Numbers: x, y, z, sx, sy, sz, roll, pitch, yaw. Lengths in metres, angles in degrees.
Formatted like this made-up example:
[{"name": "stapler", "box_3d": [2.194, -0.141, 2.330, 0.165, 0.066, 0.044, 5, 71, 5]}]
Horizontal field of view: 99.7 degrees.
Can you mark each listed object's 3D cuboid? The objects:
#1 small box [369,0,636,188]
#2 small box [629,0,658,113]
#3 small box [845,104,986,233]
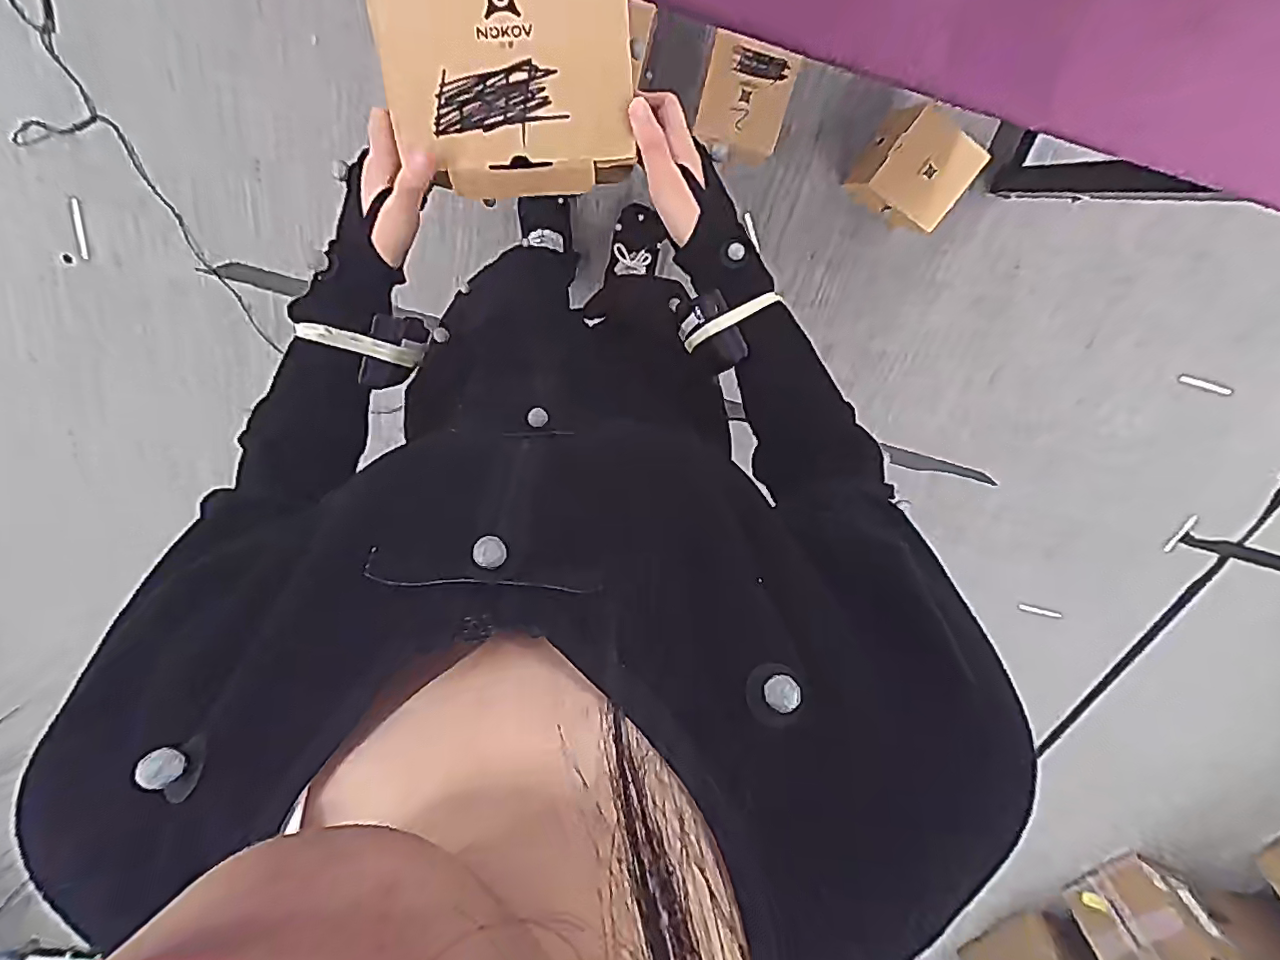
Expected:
[{"name": "small box", "box_3d": [-0.092, -0.329, 0.416, 0.168, 0.176, 0.179, -5, 114, -2]}, {"name": "small box", "box_3d": [-0.070, -0.838, 1.063, 0.168, 0.176, 0.179, 14, 117, -8]}, {"name": "small box", "box_3d": [0.574, -0.657, 1.149, 0.179, 0.176, 0.168, 29, 115, -13]}]
